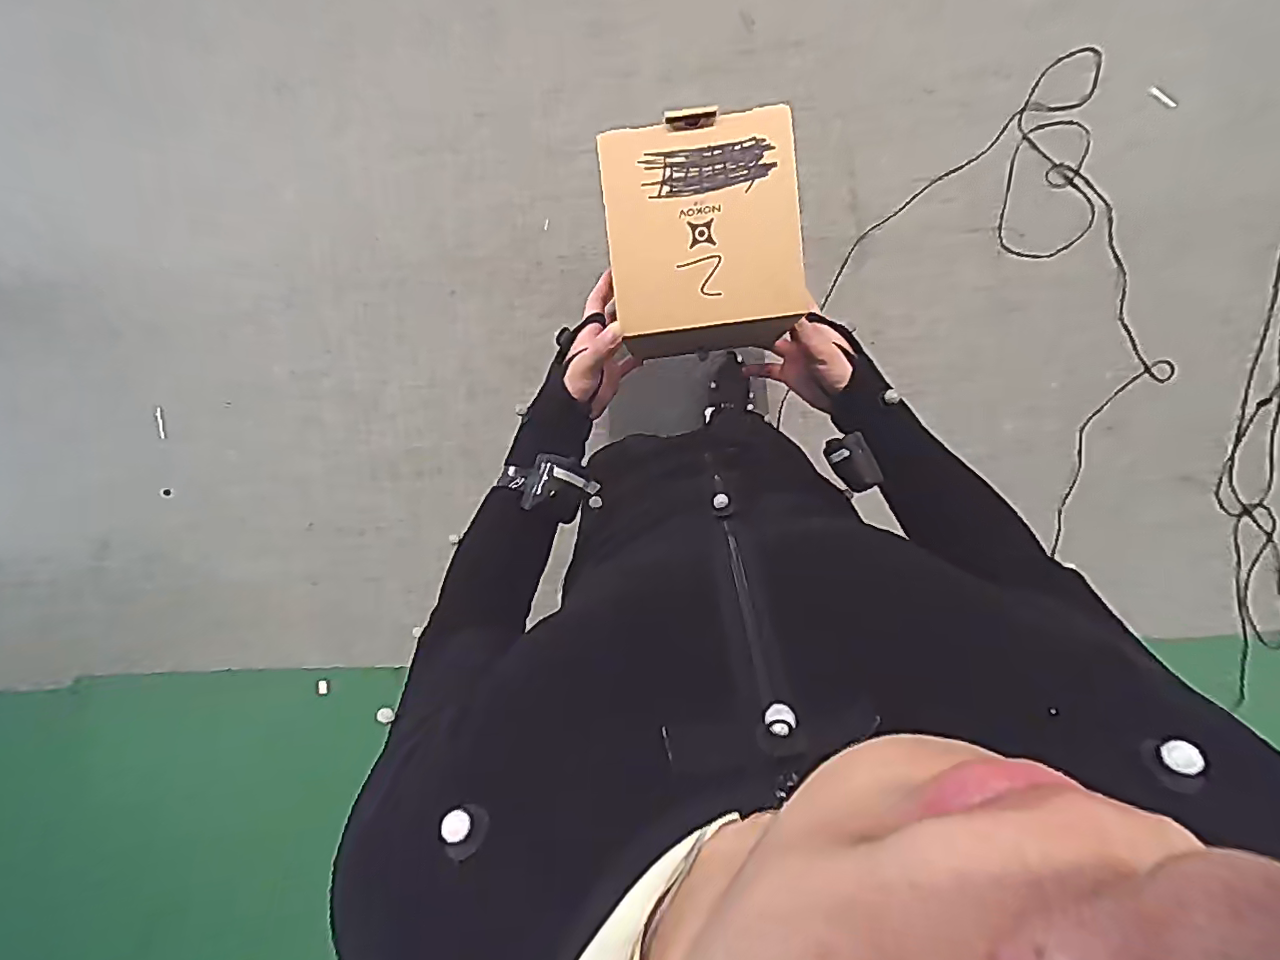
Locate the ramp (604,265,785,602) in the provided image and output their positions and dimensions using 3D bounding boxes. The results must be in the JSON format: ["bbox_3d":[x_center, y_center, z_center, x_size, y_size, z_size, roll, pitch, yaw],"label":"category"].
[{"bbox_3d":[0.157,-0.143,1.637,0.509,0.206,0.991,-5,97,4],"label":"ramp"}]
